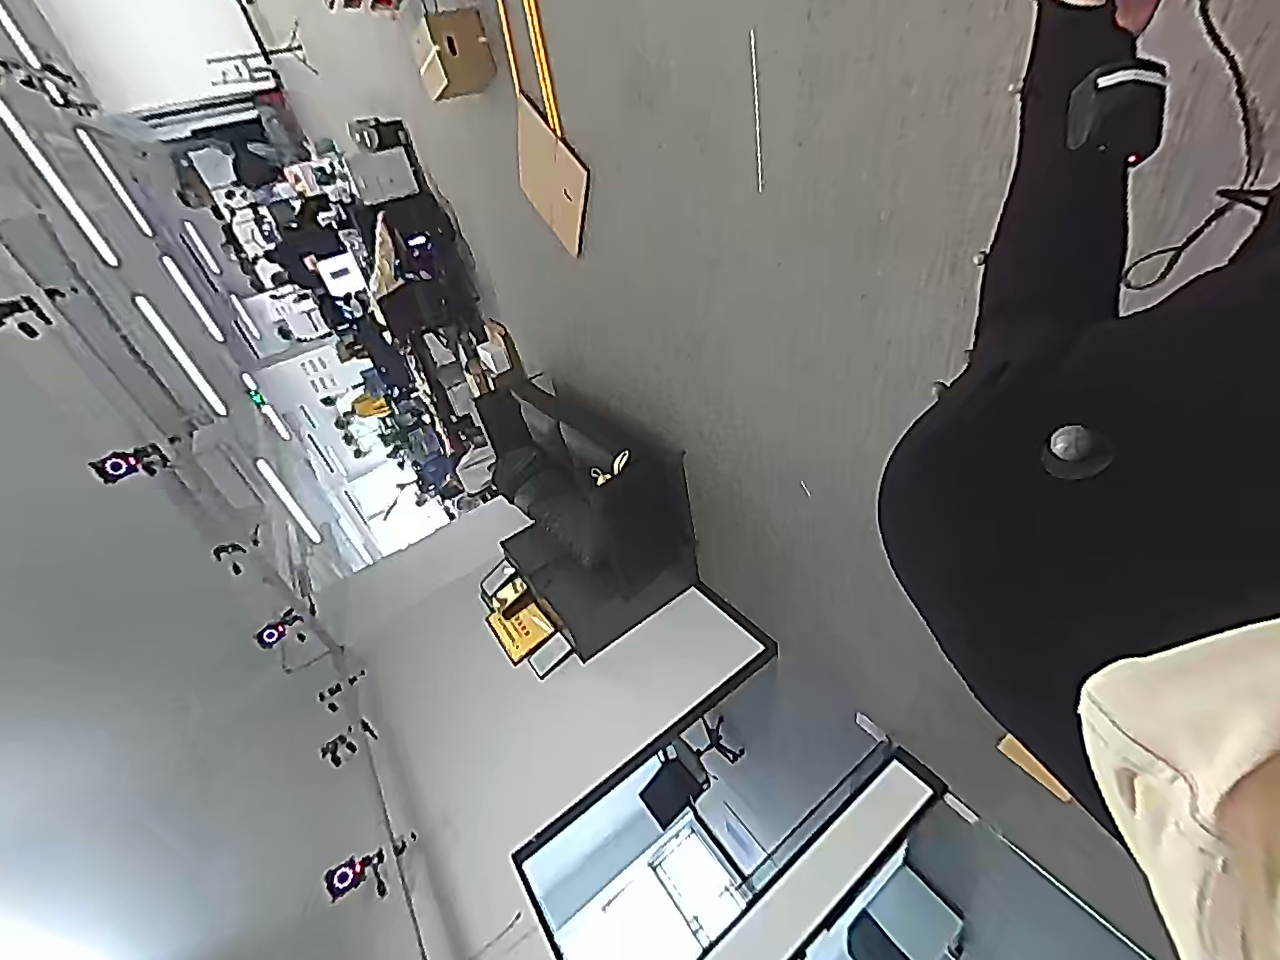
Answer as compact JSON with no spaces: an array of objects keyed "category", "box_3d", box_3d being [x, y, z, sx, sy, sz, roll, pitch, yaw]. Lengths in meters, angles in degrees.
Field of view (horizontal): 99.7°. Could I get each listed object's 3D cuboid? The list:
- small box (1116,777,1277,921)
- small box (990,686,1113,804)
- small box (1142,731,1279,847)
[{"category":"small box","box_3d":[1.190,0.786,1.160,0.168,0.176,0.179,38,149,43]},{"category":"small box","box_3d":[1.023,0.652,1.344,0.168,0.176,0.179,41,152,40]},{"category":"small box","box_3d":[1.320,0.718,1.231,0.179,0.176,0.168,38,149,42]}]
